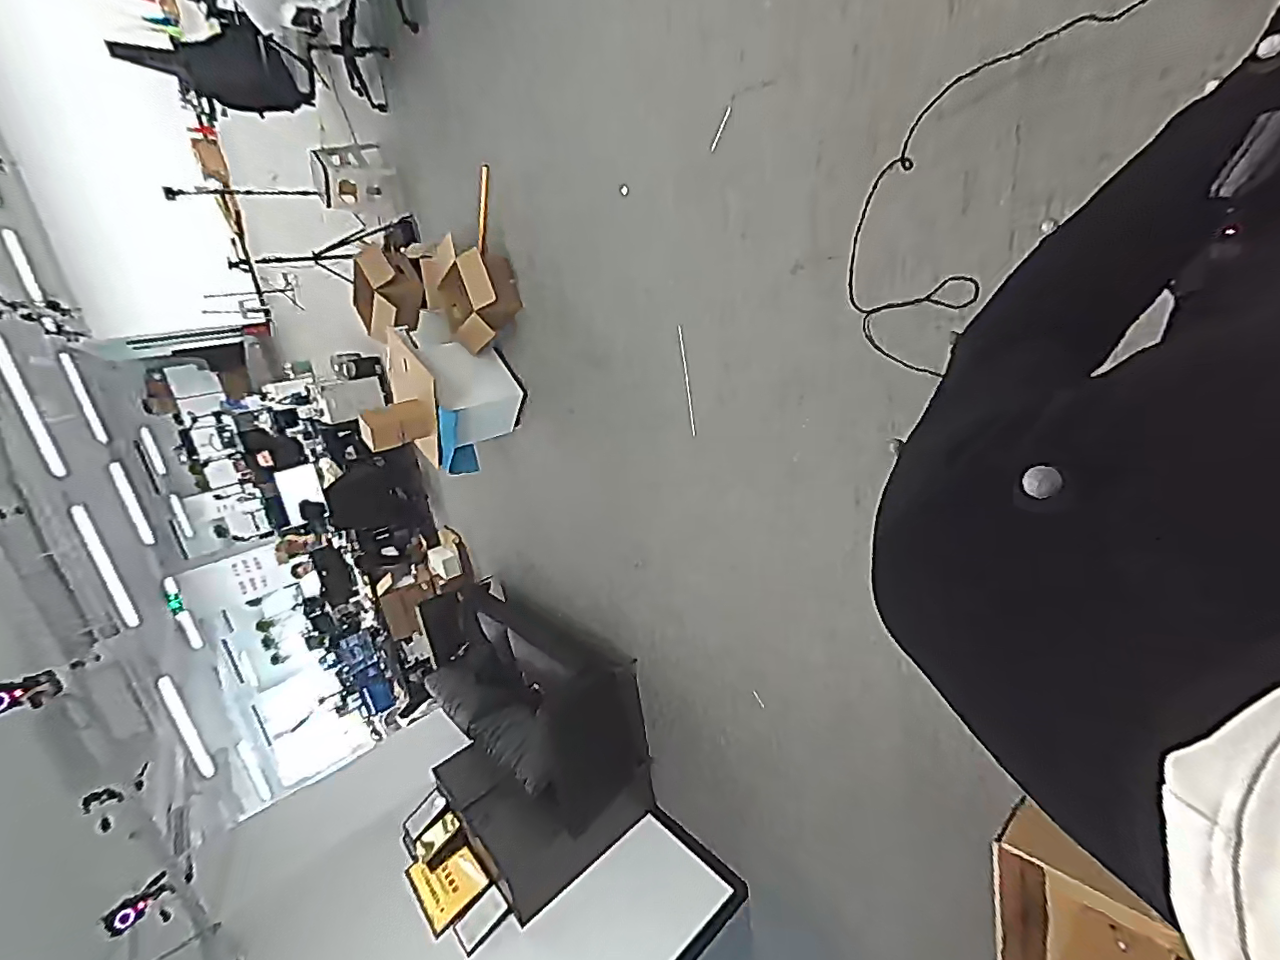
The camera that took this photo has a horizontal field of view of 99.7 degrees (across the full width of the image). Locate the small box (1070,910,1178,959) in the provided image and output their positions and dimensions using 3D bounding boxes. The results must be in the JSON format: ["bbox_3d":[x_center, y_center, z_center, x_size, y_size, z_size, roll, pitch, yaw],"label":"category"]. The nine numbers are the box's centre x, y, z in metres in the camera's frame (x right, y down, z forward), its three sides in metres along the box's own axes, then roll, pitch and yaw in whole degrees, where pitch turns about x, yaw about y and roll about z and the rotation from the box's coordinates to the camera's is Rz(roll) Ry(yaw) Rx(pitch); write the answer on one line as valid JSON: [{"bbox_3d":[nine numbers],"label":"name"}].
[{"bbox_3d":[1.055,1.110,1.177,0.168,0.176,0.179,7,115,49],"label":"small box"}]
